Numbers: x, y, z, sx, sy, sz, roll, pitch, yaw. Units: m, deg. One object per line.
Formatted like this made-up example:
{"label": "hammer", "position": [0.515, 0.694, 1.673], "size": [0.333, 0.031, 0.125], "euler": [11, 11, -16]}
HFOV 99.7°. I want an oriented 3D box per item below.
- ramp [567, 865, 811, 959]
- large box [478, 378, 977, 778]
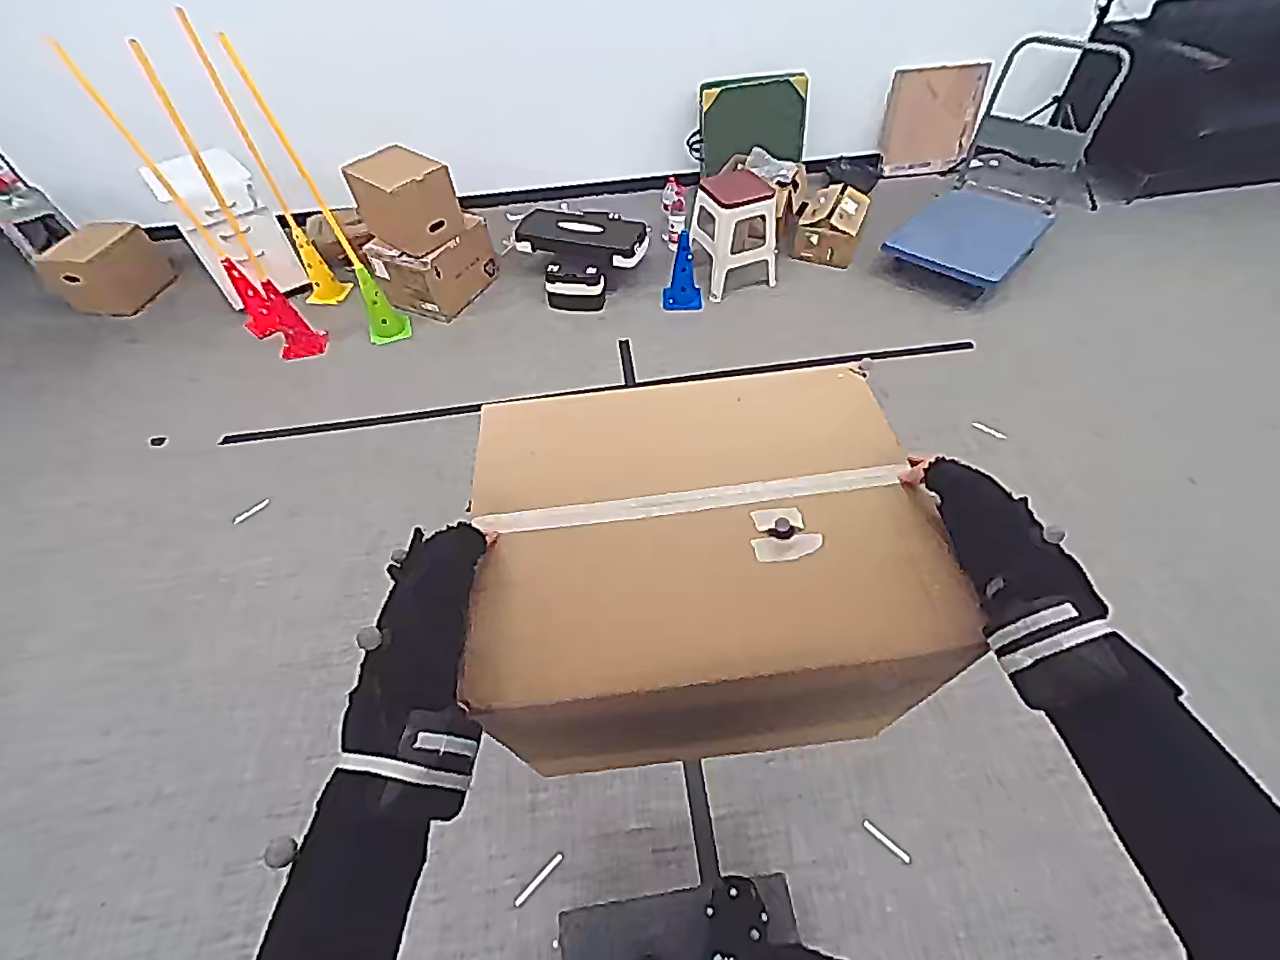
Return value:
{"label": "ramp", "position": [0.159, 1.302, 0.932], "size": [0.509, 0.206, 0.991], "euler": [-9, 52, -5]}
{"label": "large box", "position": [0.060, 0.121, 0.624], "size": [0.408, 0.320, 0.320], "euler": [-7, 53, -1]}
